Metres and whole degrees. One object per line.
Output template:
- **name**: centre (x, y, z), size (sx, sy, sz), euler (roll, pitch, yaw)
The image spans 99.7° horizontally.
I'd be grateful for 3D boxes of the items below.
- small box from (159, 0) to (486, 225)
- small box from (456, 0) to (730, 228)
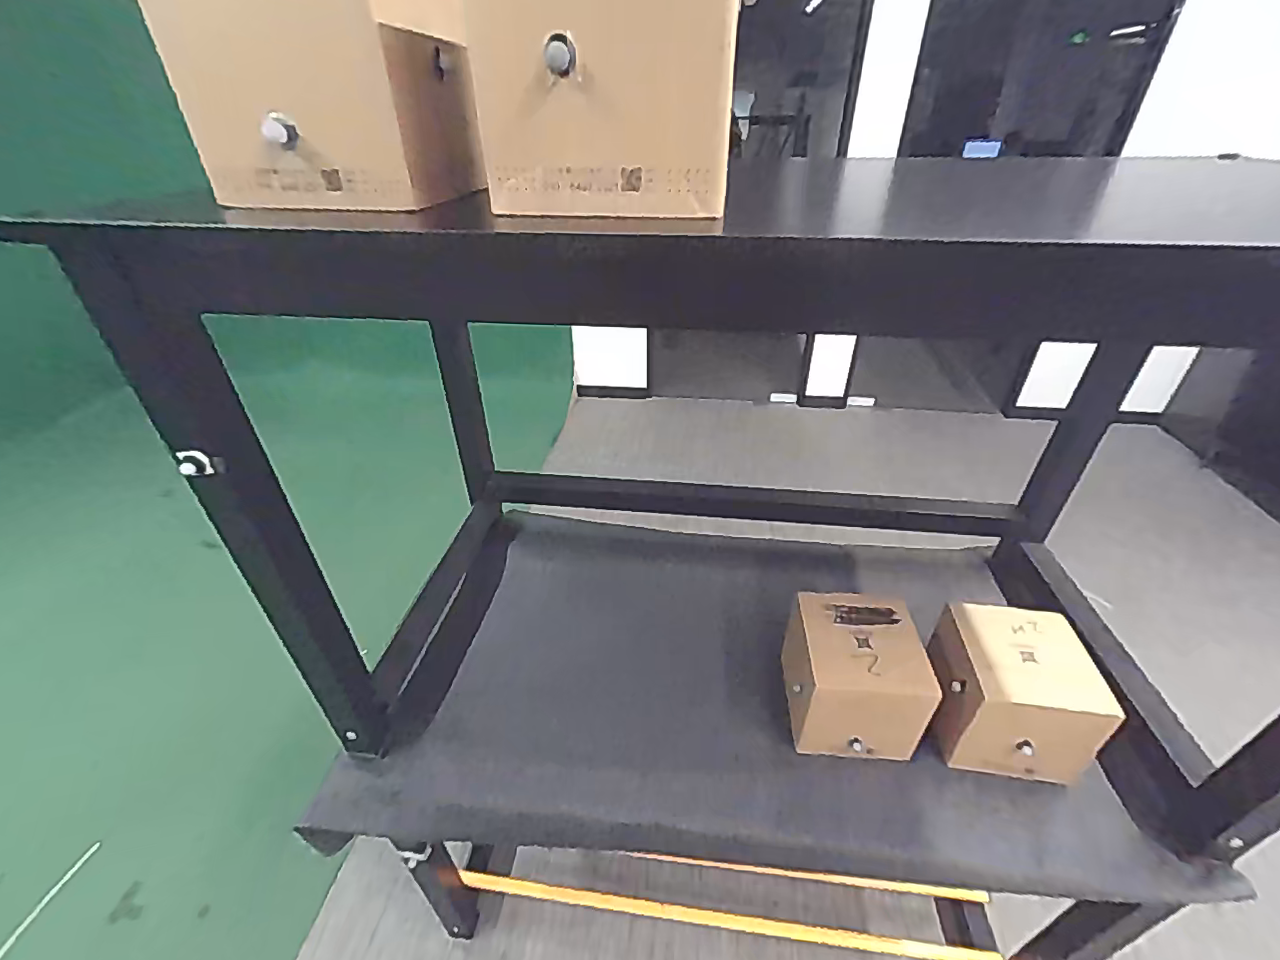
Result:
- **small box**: centre (-0.239, -0.320, 0.447), size (0.168, 0.176, 0.179), euler (4, 35, 7)
- **small box**: centre (-0.018, -0.295, 0.411), size (0.168, 0.176, 0.179), euler (4, 34, 7)
